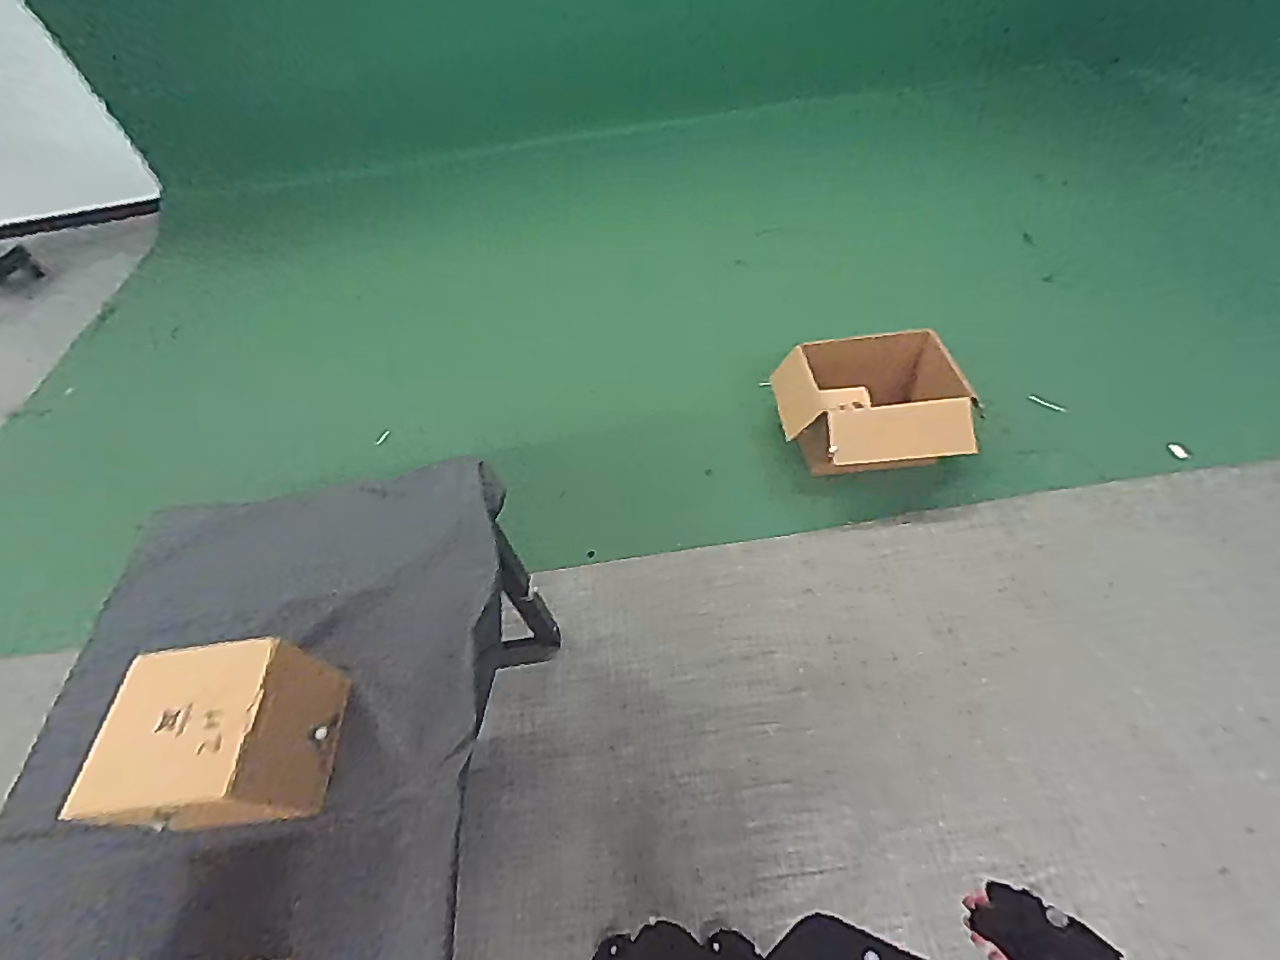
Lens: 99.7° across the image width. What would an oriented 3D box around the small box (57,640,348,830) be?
[{"bbox_3d":[-0.491,0.308,0.644,0.179,0.176,0.168,-7,53,1],"label":"small box"}]
